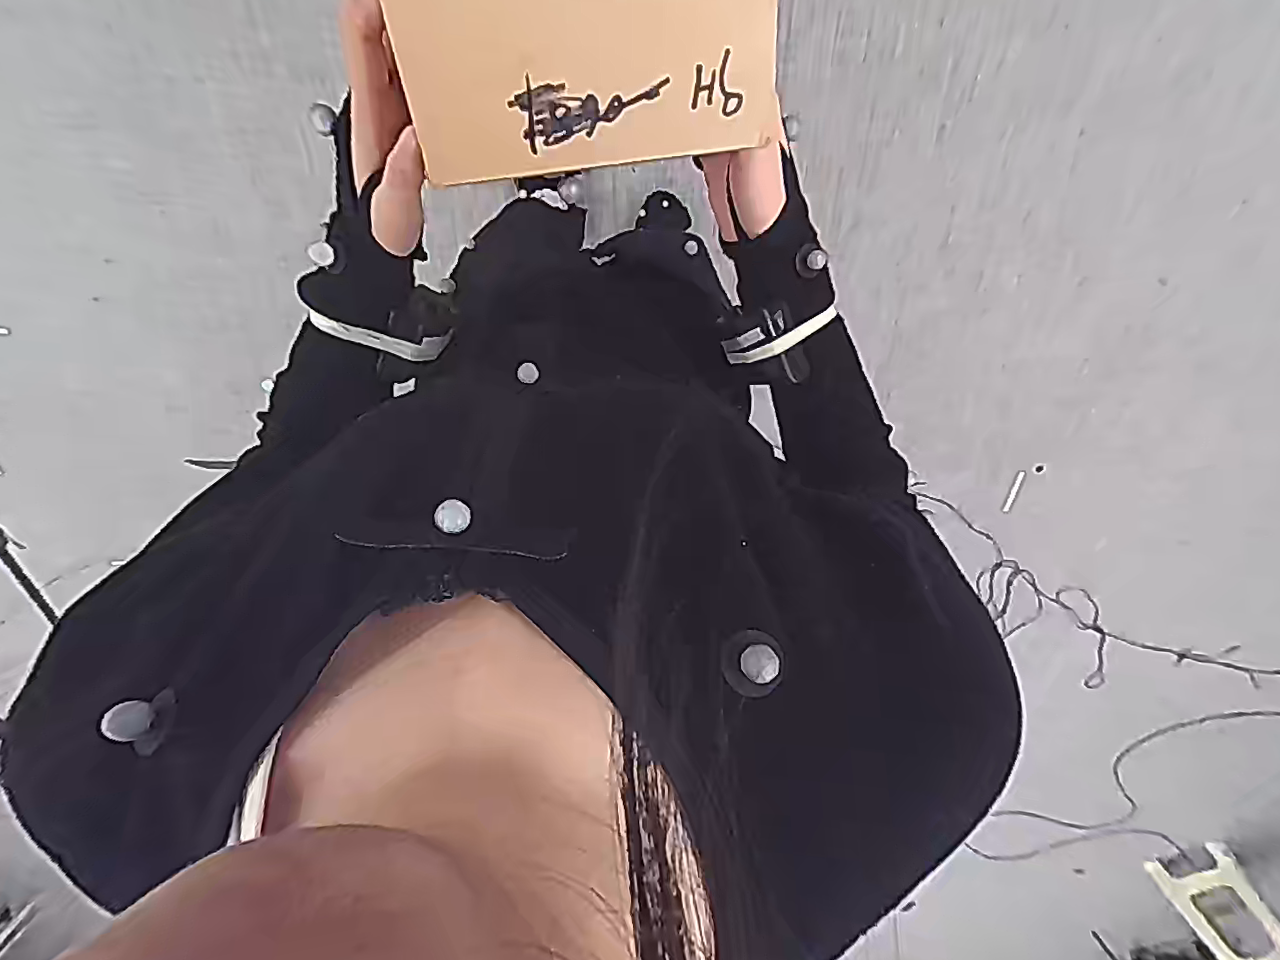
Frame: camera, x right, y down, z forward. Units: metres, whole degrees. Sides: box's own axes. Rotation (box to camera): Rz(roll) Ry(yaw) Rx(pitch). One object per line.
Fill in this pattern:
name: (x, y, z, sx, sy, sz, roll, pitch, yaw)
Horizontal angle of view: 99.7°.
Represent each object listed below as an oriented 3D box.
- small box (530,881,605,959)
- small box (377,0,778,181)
small box: (-0.180, 1.164, 1.379, 0.168, 0.176, 0.179, 3, 120, 0)
small box: (-0.039, -0.259, 0.272, 0.168, 0.176, 0.179, -10, 122, -5)
